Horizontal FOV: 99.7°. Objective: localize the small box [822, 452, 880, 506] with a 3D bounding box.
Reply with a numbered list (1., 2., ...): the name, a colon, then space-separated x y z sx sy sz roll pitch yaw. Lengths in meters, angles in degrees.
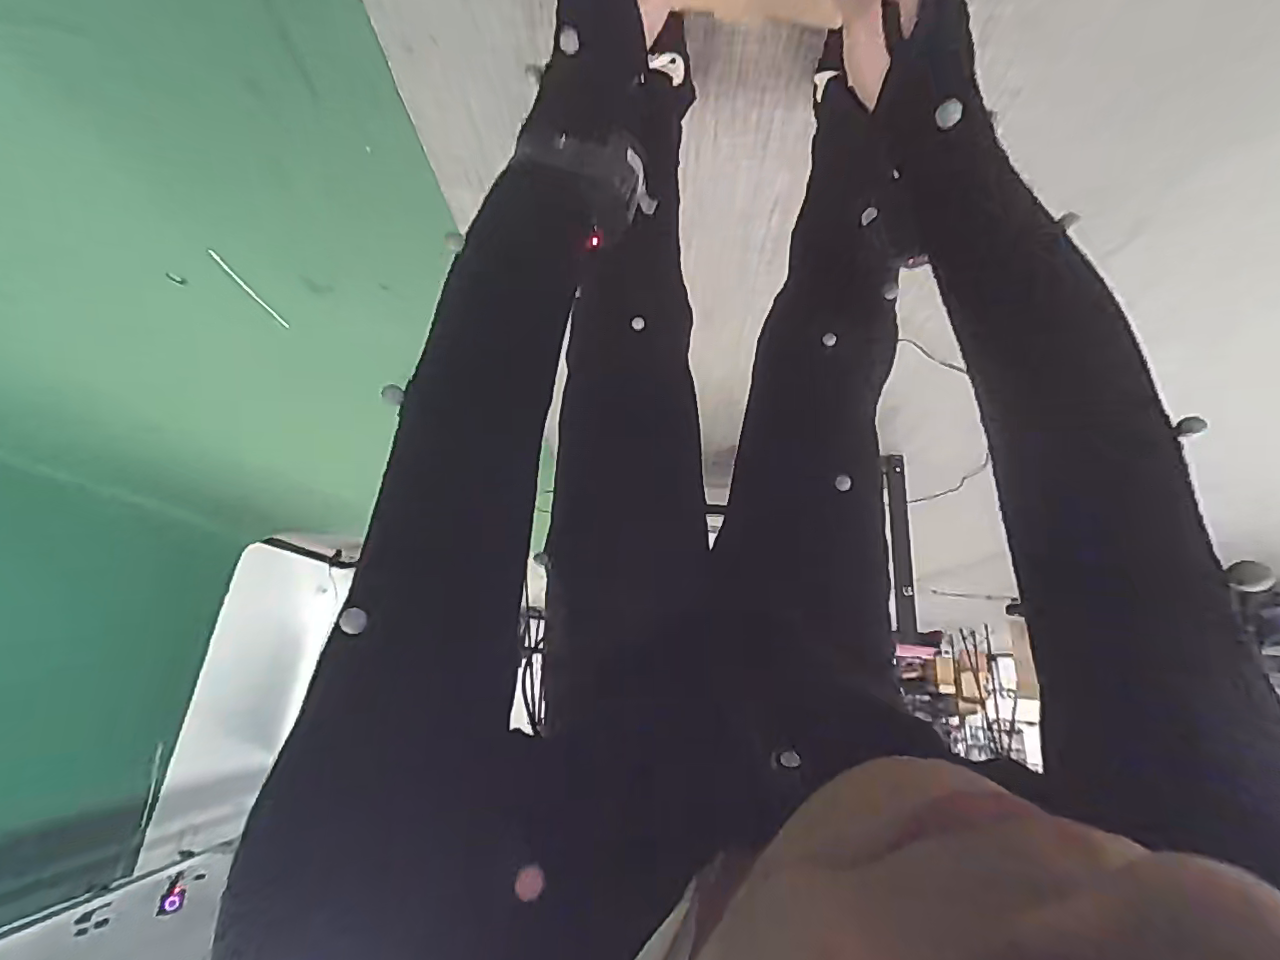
1. small box: 0.824 -0.004 2.124 0.179 0.176 0.168 5 161 4
